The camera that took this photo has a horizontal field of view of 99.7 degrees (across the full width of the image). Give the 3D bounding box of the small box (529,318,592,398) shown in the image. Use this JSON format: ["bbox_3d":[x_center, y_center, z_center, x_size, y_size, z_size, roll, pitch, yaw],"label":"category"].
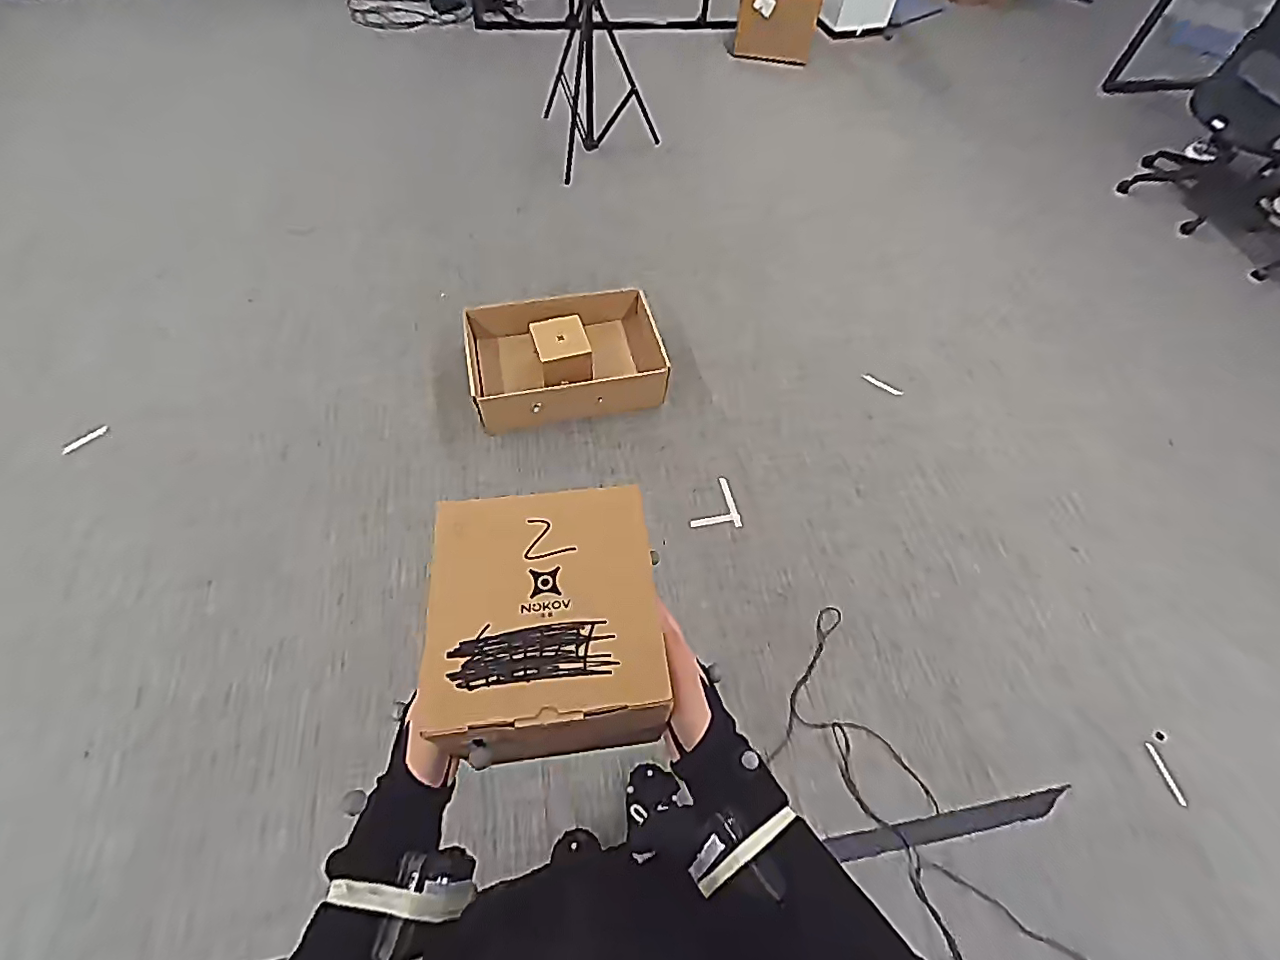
[{"bbox_3d":[-0.262,-0.401,1.786,0.168,0.176,0.179,-16,62,-12],"label":"small box"}]
